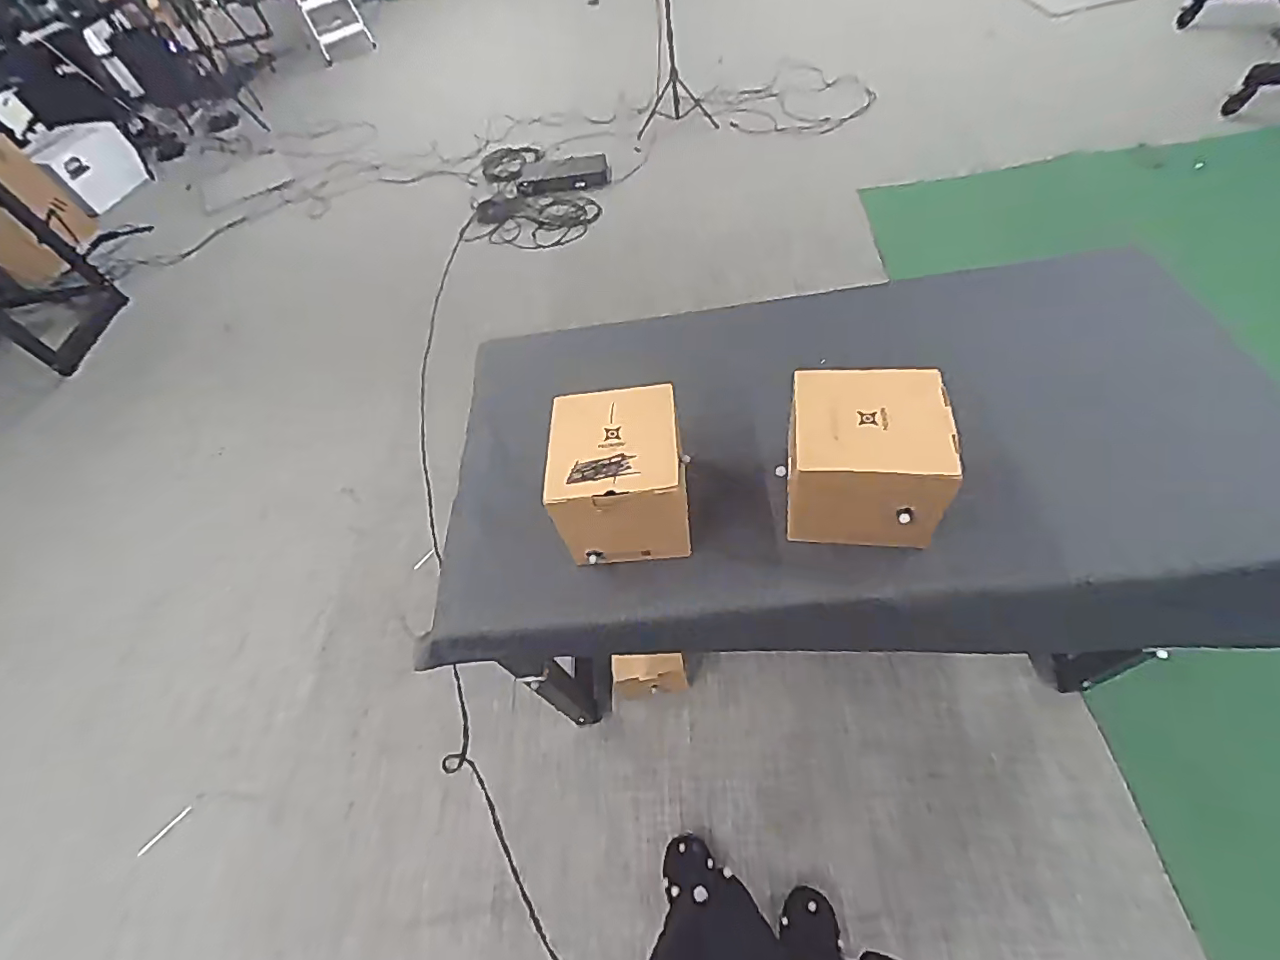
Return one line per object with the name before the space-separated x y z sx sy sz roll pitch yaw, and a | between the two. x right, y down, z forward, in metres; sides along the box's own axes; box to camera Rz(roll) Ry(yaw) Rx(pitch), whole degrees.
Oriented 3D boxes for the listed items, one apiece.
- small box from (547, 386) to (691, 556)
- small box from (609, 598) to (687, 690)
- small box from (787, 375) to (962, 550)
small box | -0.019 -0.004 0.753 0.168 0.176 0.179 -5 53 7
small box | 0.023 0.417 1.354 0.168 0.176 0.179 -10 55 3
small box | 0.290 -0.019 0.713 0.179 0.176 0.168 2 55 13
